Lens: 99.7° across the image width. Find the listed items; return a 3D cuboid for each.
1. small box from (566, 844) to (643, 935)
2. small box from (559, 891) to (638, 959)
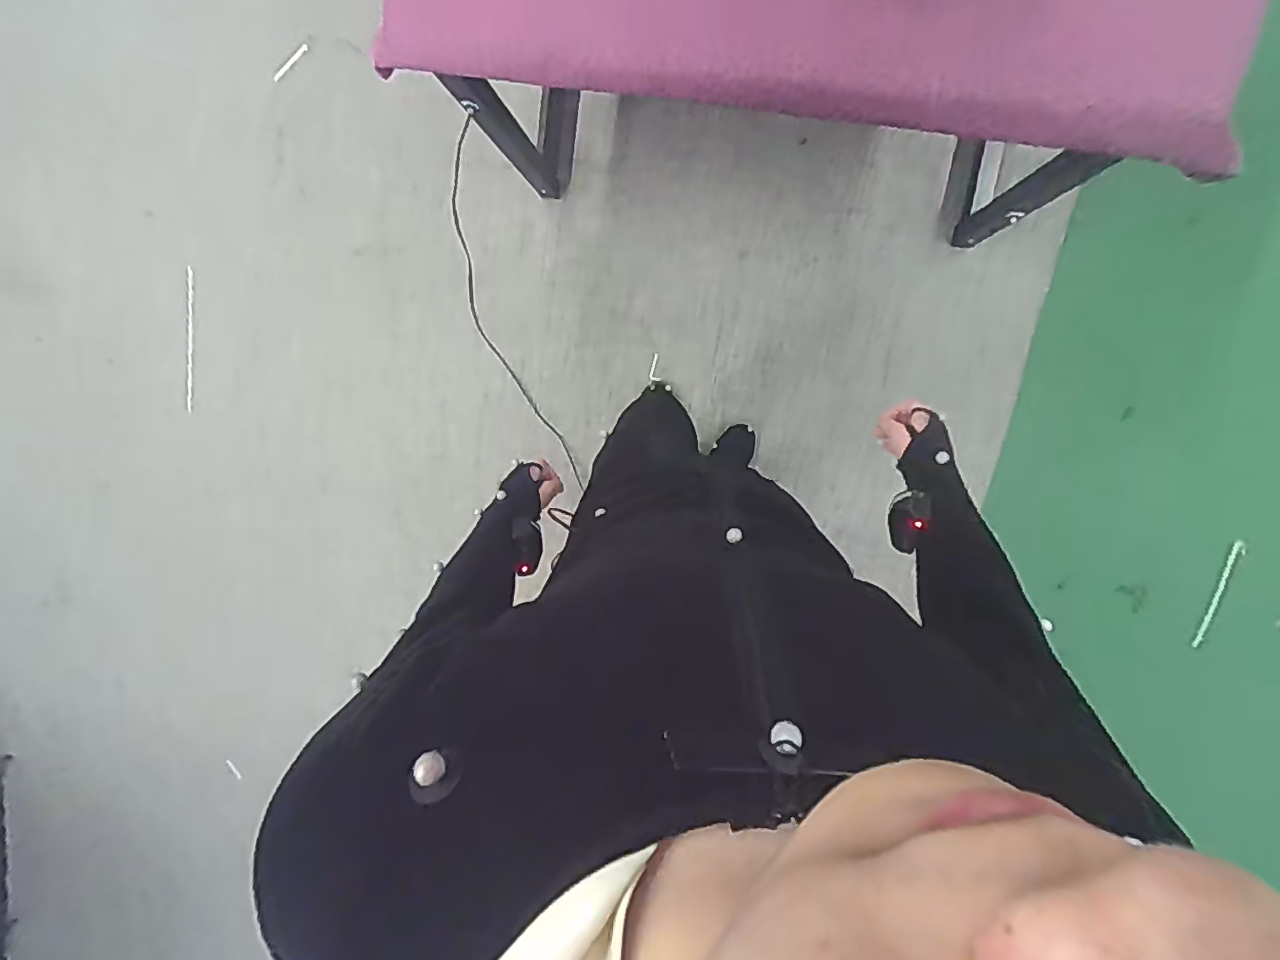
[{"bbox_3d":[-0.094,1.189,1.529,0.168,0.176,0.179,16,101,5],"label":"small box"},{"bbox_3d":[-0.113,1.206,1.367,0.168,0.176,0.179,18,102,5],"label":"small box"}]
